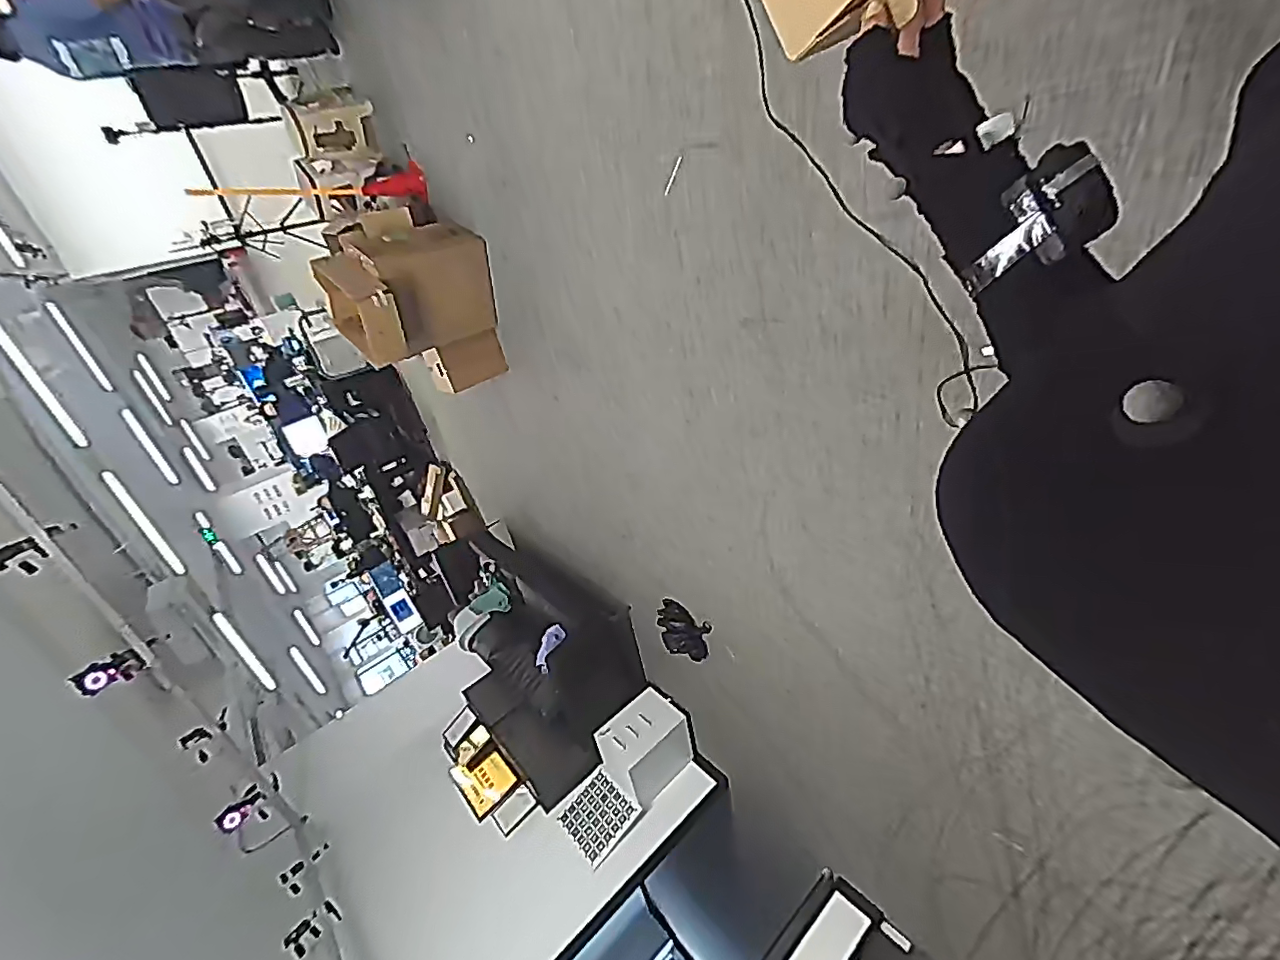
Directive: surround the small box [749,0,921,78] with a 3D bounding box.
[{"bbox_3d":[0.176,-0.458,0.398,0.179,0.176,0.168,58,157,-14],"label":"small box"}]
